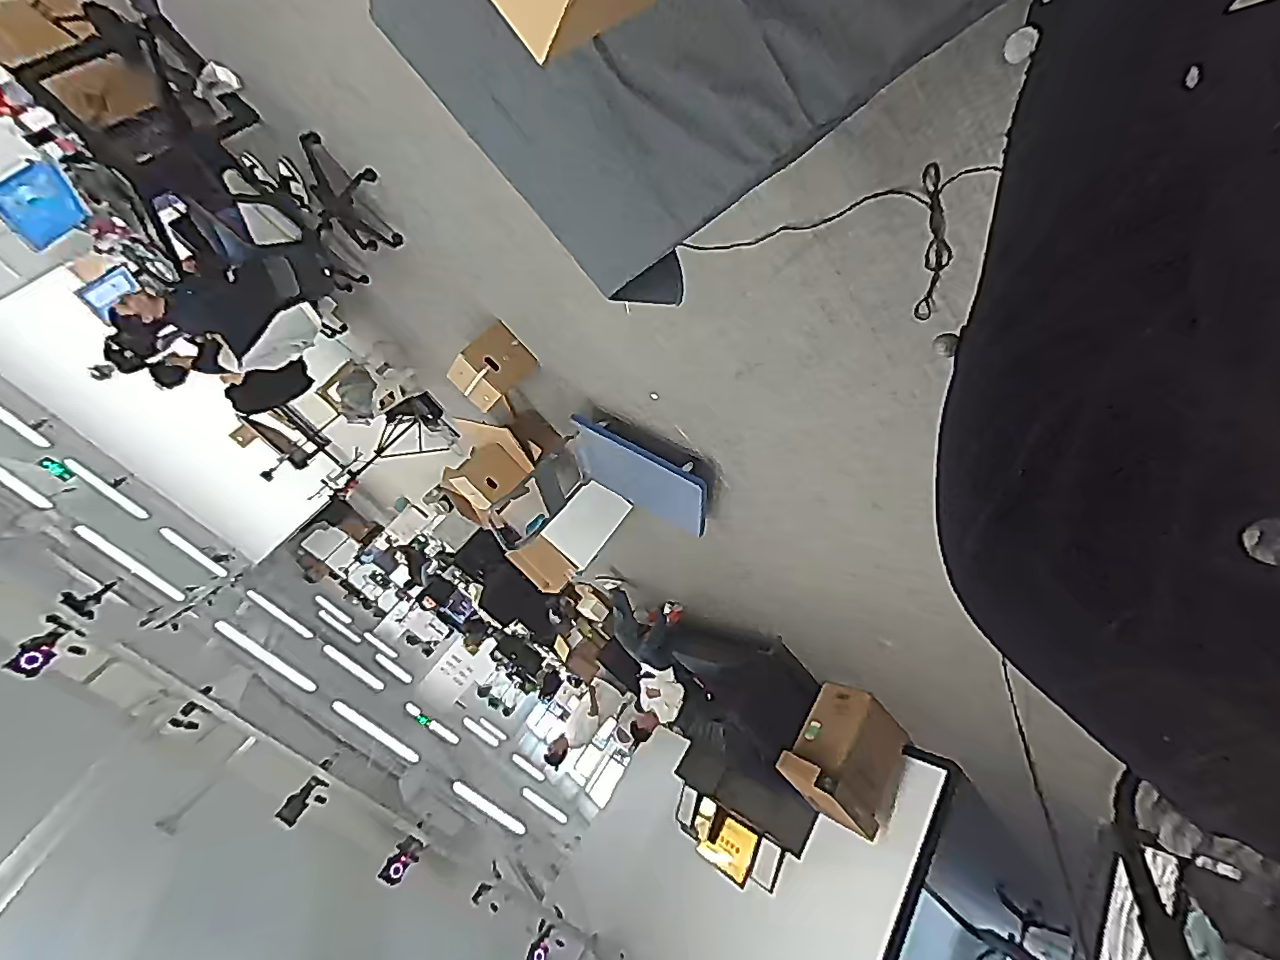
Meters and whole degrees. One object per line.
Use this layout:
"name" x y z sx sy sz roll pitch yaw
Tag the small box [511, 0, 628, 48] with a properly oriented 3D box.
"small box" -0.037 -0.471 0.376 0.168 0.176 0.179 48 154 -17
